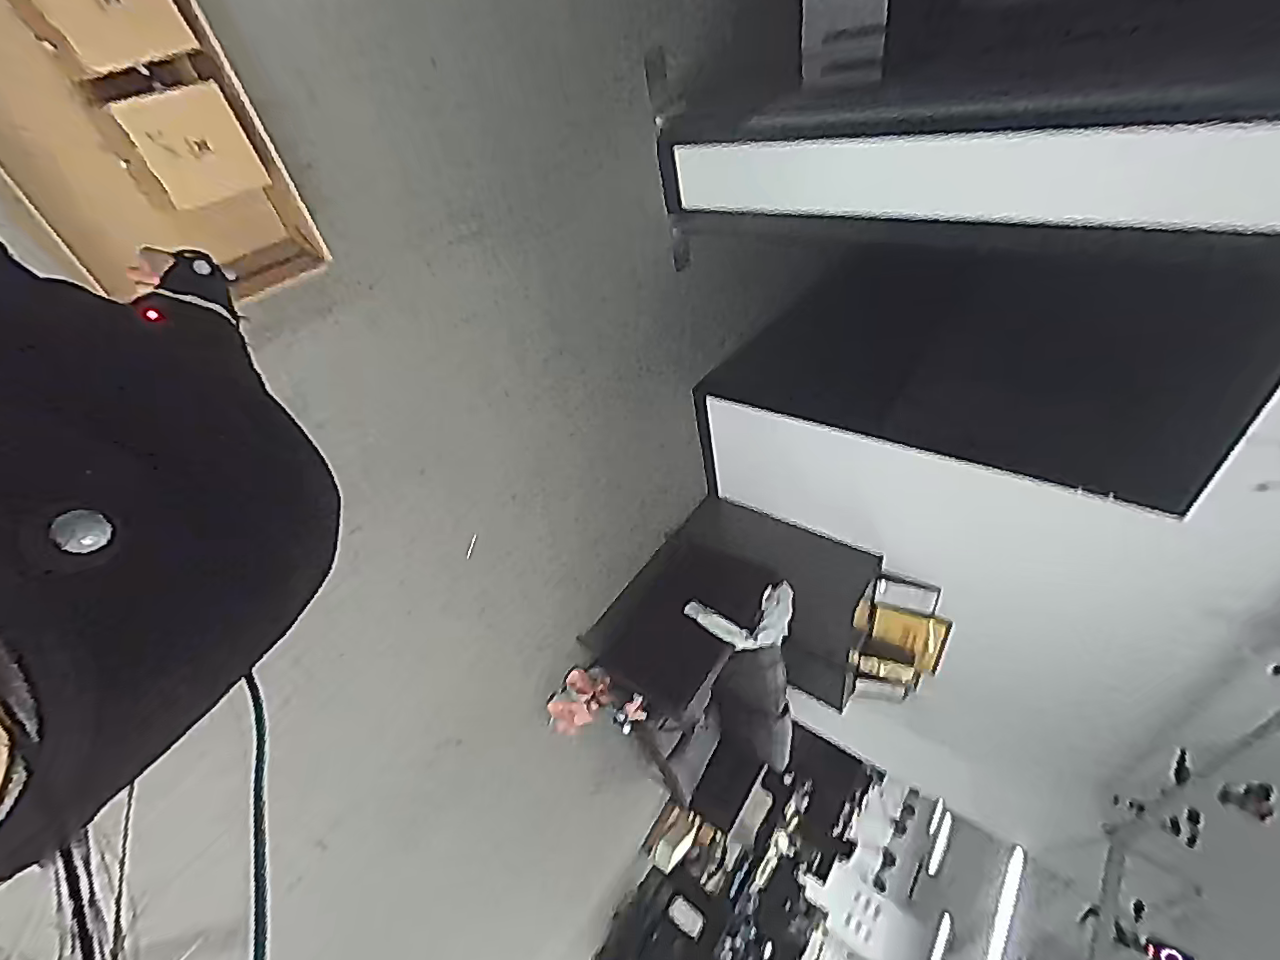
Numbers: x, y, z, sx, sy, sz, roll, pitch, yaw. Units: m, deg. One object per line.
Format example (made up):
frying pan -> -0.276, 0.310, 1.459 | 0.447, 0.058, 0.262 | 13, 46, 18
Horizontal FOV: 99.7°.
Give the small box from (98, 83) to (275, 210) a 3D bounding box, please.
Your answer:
small box -> -0.841, -0.619, 1.005 | 0.179, 0.176, 0.168 | -43, 138, -31
